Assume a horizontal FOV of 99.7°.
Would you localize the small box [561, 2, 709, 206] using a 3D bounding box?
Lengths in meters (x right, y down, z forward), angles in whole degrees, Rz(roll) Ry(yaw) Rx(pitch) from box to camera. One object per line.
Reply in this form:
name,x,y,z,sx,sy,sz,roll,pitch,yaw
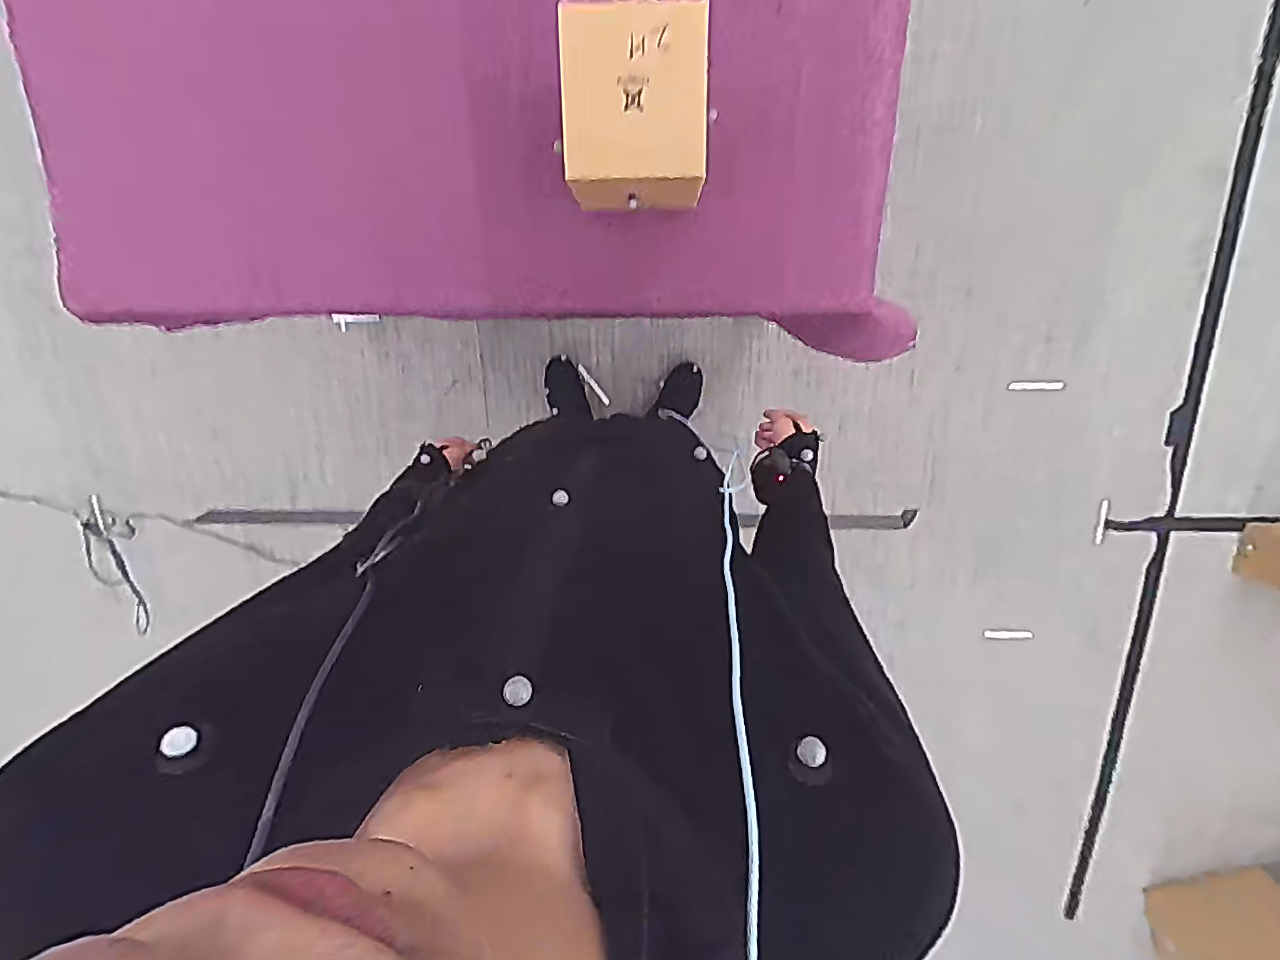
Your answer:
small box,-0.003,-0.458,0.689,0.168,0.176,0.179,0,105,1
